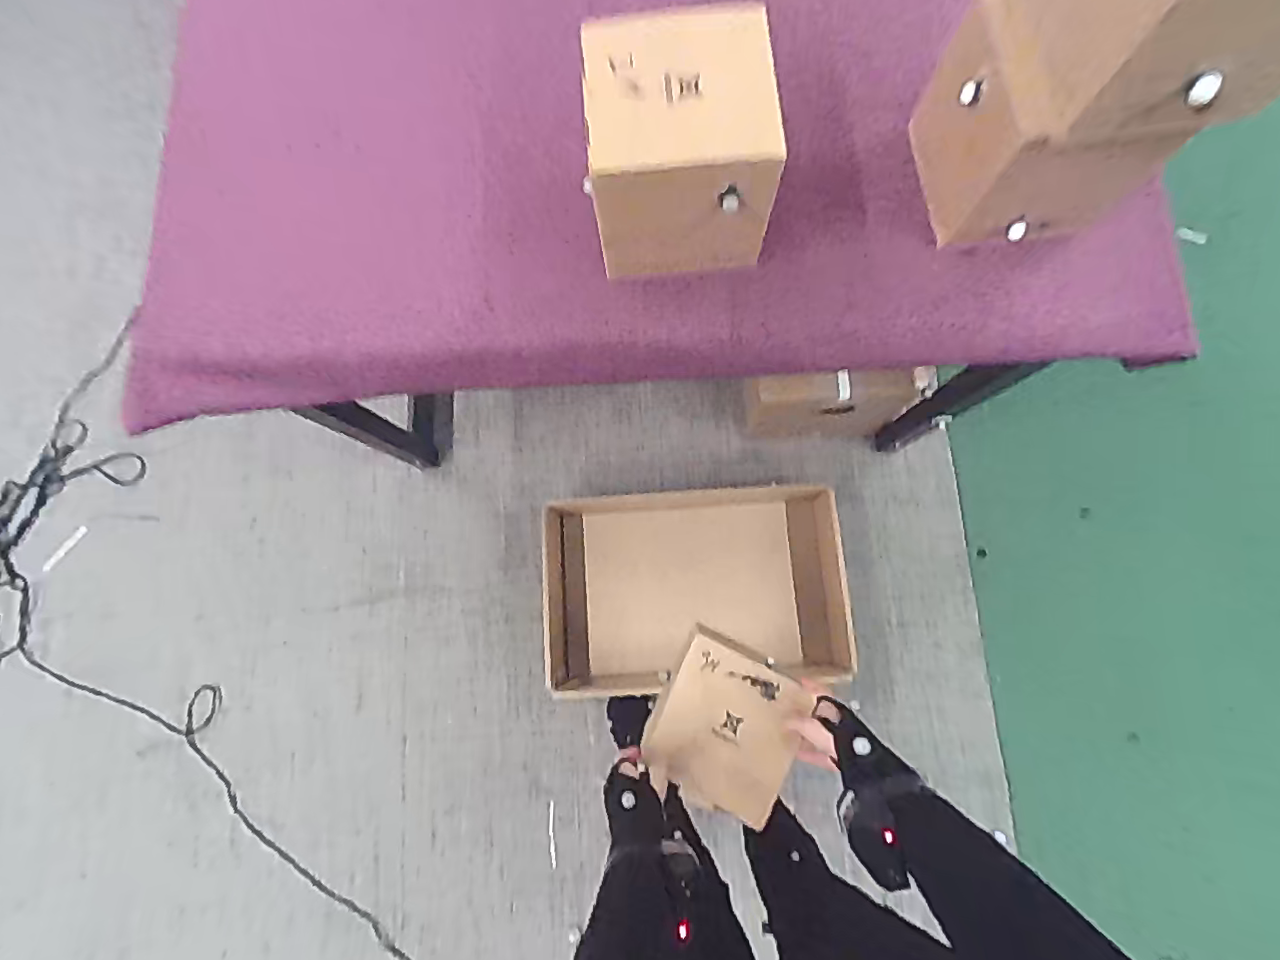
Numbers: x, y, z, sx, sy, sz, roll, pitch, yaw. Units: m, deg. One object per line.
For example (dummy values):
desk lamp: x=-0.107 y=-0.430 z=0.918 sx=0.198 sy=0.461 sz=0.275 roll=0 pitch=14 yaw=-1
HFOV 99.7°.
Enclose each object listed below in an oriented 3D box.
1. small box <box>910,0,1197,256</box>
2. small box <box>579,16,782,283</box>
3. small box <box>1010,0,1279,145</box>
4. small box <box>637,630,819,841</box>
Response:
small box: x=0.403 y=-0.364 z=0.555 sx=0.168 sy=0.176 sz=0.179 roll=-6 pitch=77 yaw=3
small box: x=0.037 y=-0.329 z=0.568 sx=0.179 sy=0.176 sz=0.168 roll=-5 pitch=77 yaw=3
small box: x=0.409 y=-0.388 z=0.391 sx=0.168 sy=0.176 sz=0.179 roll=-6 pitch=78 yaw=4
small box: x=0.114 y=0.321 z=0.723 sx=0.168 sy=0.176 sz=0.179 roll=25 pitch=84 yaw=9
